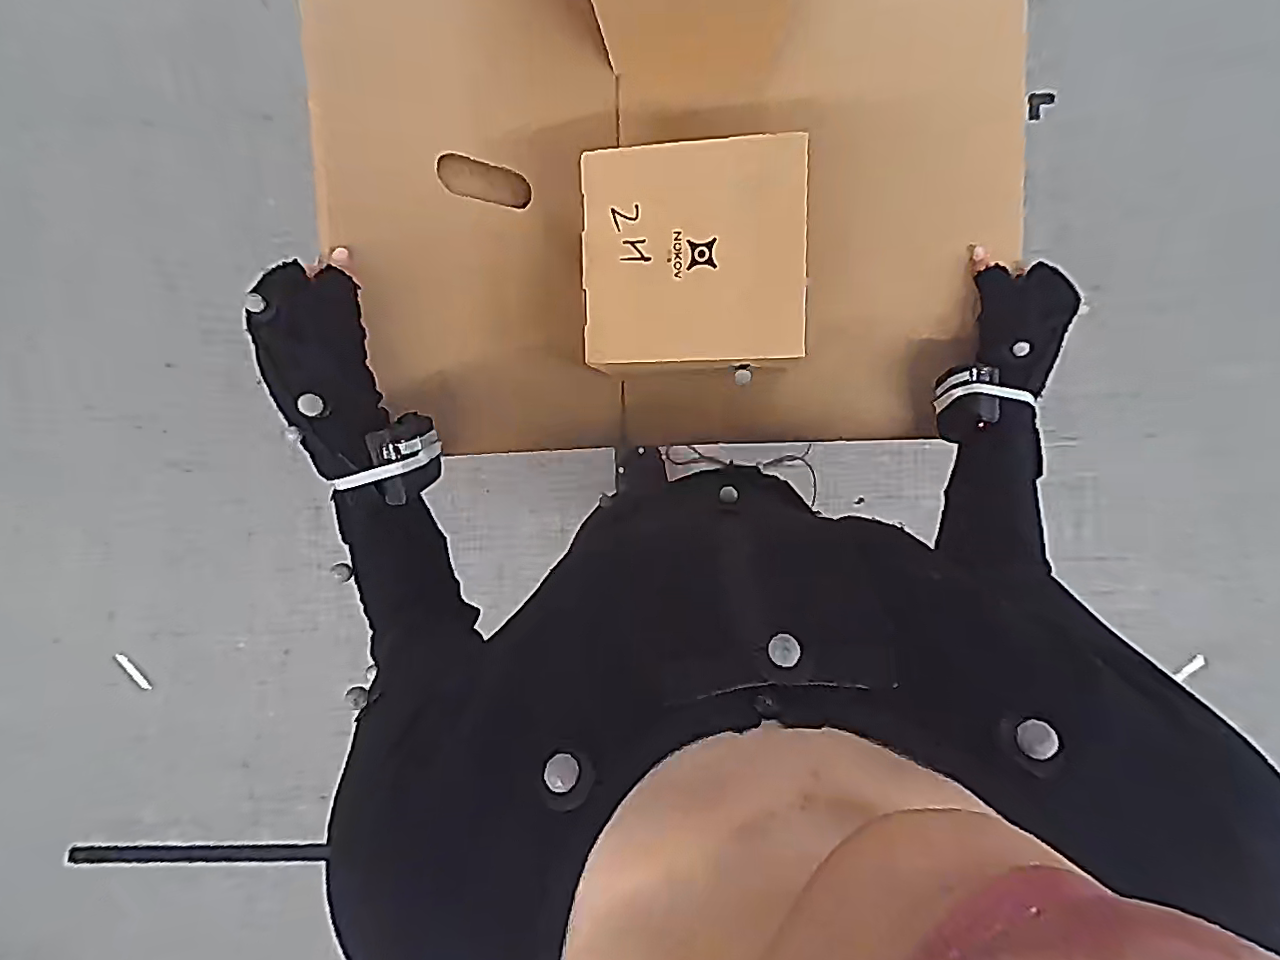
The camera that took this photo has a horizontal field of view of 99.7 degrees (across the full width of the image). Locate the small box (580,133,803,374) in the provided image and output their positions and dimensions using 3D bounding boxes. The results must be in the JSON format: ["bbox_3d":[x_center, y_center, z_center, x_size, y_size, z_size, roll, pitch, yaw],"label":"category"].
[{"bbox_3d":[0.048,-0.192,0.508,0.179,0.176,0.168,1,95,9],"label":"small box"}]

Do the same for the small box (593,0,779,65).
[{"bbox_3d":[0.038,-0.510,0.478,0.179,0.176,0.168,-2,96,8],"label":"small box"}]
